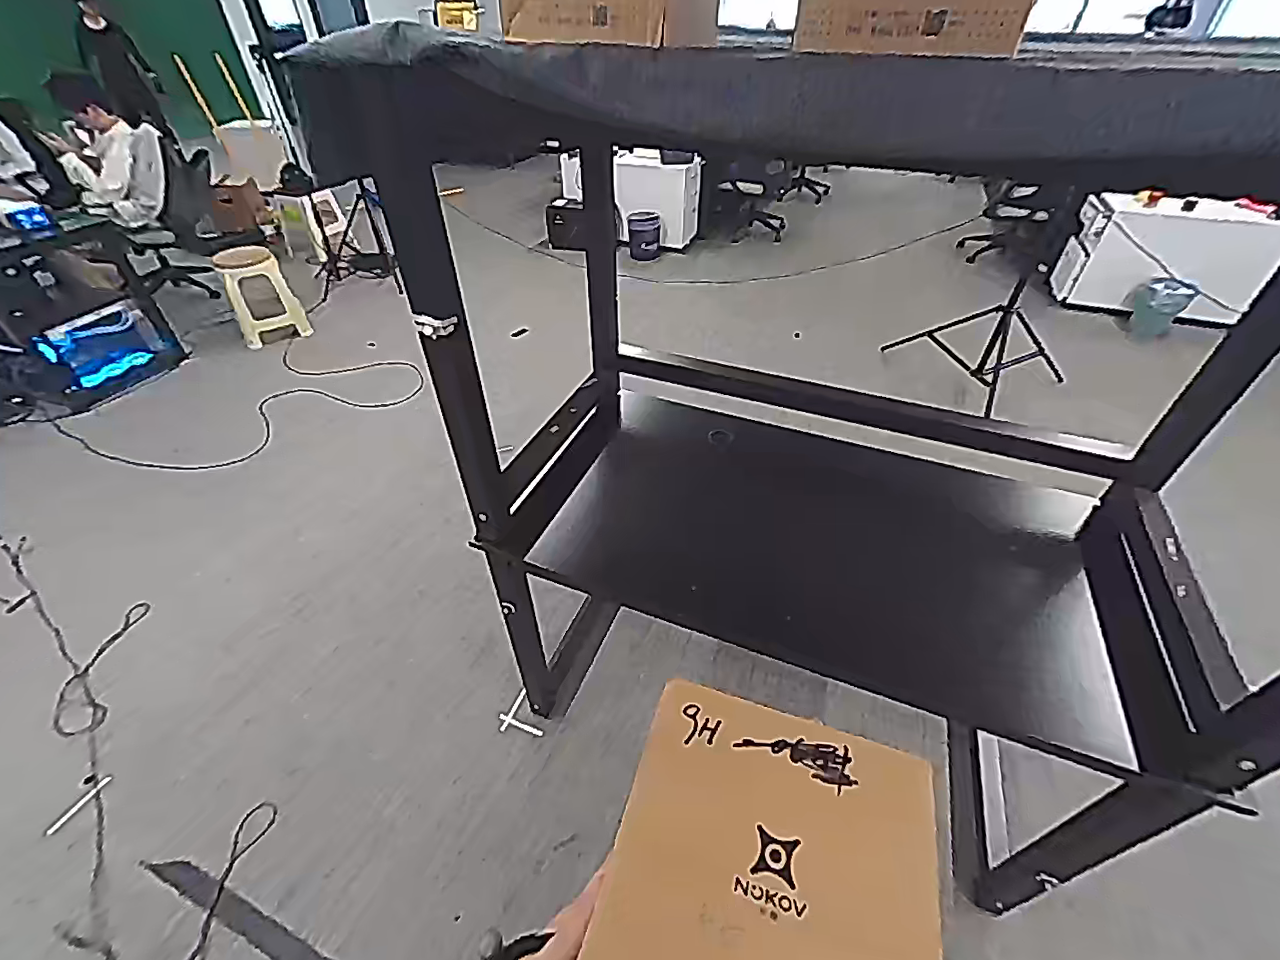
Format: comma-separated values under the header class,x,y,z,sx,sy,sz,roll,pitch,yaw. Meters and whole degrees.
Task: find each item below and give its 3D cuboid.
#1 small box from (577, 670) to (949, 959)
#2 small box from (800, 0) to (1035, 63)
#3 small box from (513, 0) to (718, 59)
class,x,y,z,sx,sy,sz,roll,pitch,yaw
small box,0.068,0.255,0.333,0.168,0.176,0.179,14,46,12
small box,0.234,-0.443,0.426,0.168,0.176,0.179,15,42,17
small box,-0.018,-0.510,0.506,0.168,0.176,0.179,15,42,15
